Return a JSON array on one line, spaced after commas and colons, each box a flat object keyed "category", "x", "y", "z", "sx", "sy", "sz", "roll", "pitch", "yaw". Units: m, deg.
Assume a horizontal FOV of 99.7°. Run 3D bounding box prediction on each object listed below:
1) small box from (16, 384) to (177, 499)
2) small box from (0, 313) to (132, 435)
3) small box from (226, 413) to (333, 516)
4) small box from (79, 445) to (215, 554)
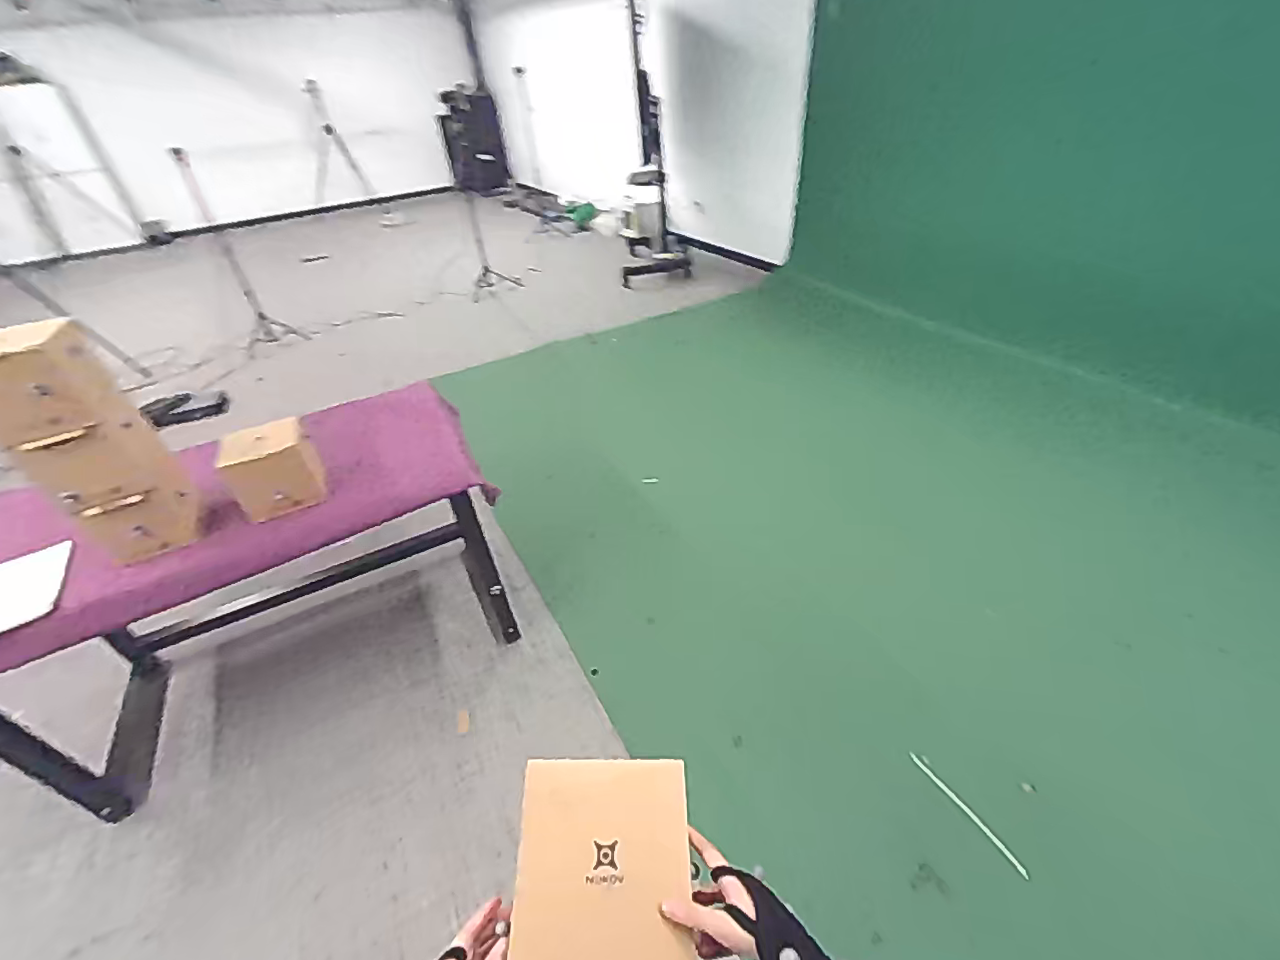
[{"category": "small box", "x": -1.142, "y": -0.077, "z": 1.157, "sx": 0.168, "sy": 0.176, "sz": 0.179, "roll": -20, "pitch": 39, "yaw": -19}, {"category": "small box", "x": -1.151, "y": -0.203, "z": 1.055, "sx": 0.168, "sy": 0.176, "sz": 0.179, "roll": -19, "pitch": 39, "yaw": -19}, {"category": "small box", "x": -0.887, "y": -0.040, "z": 1.346, "sx": 0.168, "sy": 0.176, "sz": 0.179, "roll": -21, "pitch": 39, "yaw": -18}, {"category": "small box", "x": -1.133, "y": 0.050, "z": 1.262, "sx": 0.168, "sy": 0.176, "sz": 0.179, "roll": -20, "pitch": 41, "yaw": -19}]
